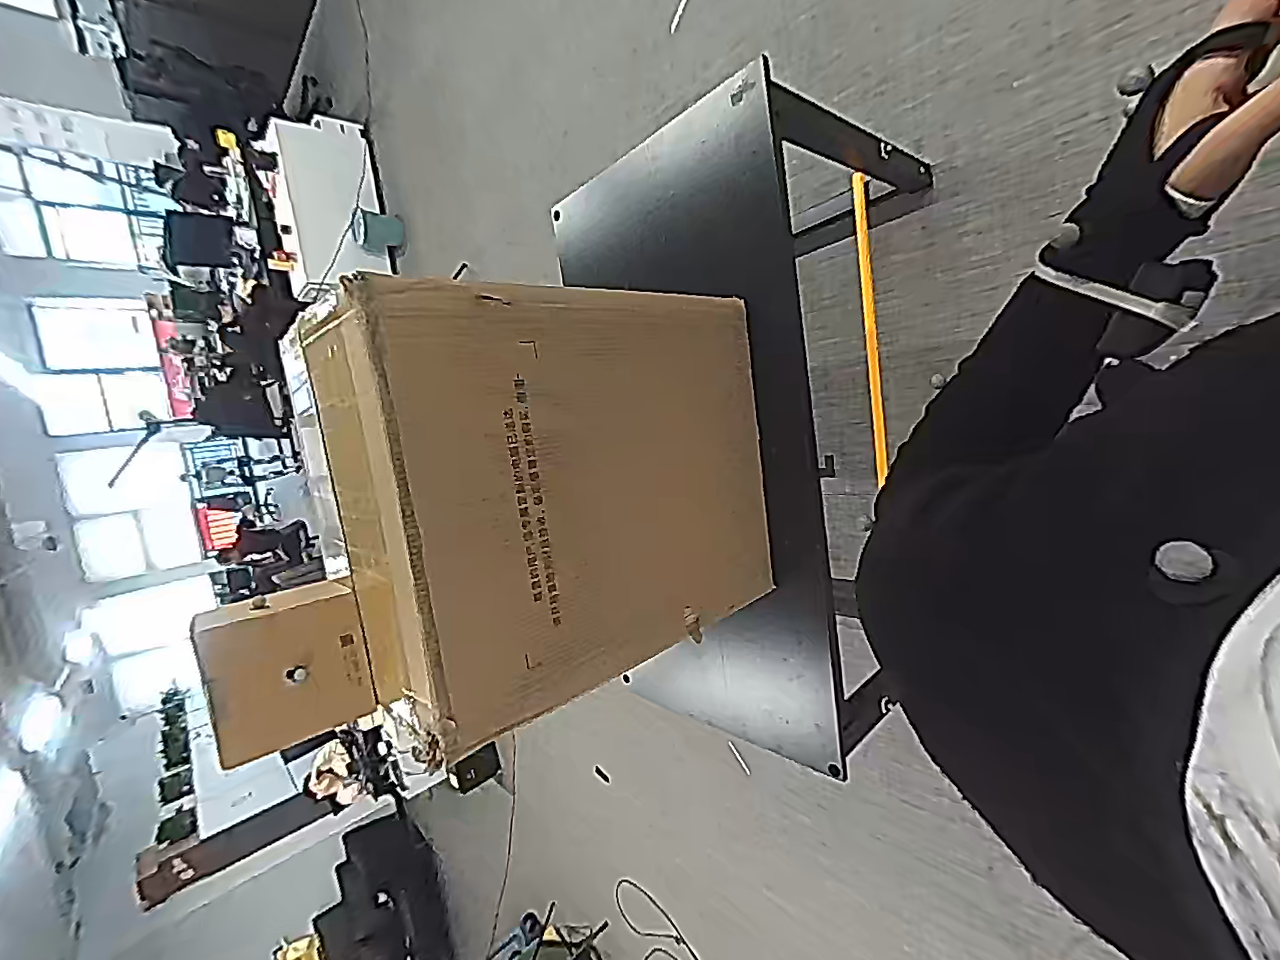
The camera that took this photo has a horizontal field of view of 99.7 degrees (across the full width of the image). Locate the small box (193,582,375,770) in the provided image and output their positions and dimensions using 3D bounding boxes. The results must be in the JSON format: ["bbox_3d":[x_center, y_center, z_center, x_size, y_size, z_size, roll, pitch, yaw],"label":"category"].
[{"bbox_3d":[-0.469,0.241,0.722,0.179,0.176,0.168,-6,95,51],"label":"small box"}]
